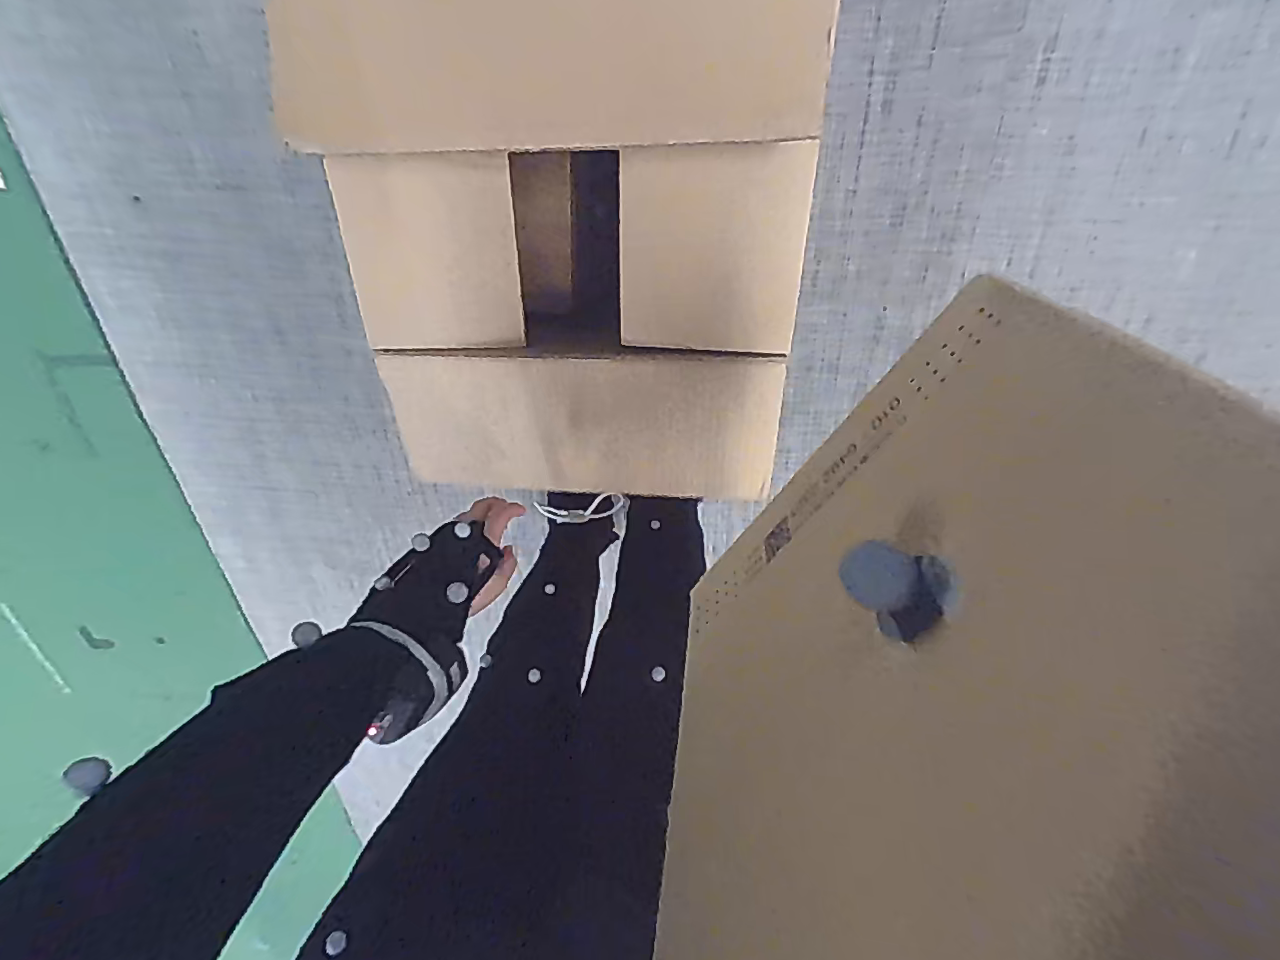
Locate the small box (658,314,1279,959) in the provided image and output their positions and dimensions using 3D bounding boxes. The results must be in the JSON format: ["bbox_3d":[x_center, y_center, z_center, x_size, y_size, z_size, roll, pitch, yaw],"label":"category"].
[{"bbox_3d":[0.121,0.072,0.159,0.179,0.176,0.168,30,121,-9],"label":"small box"}]
